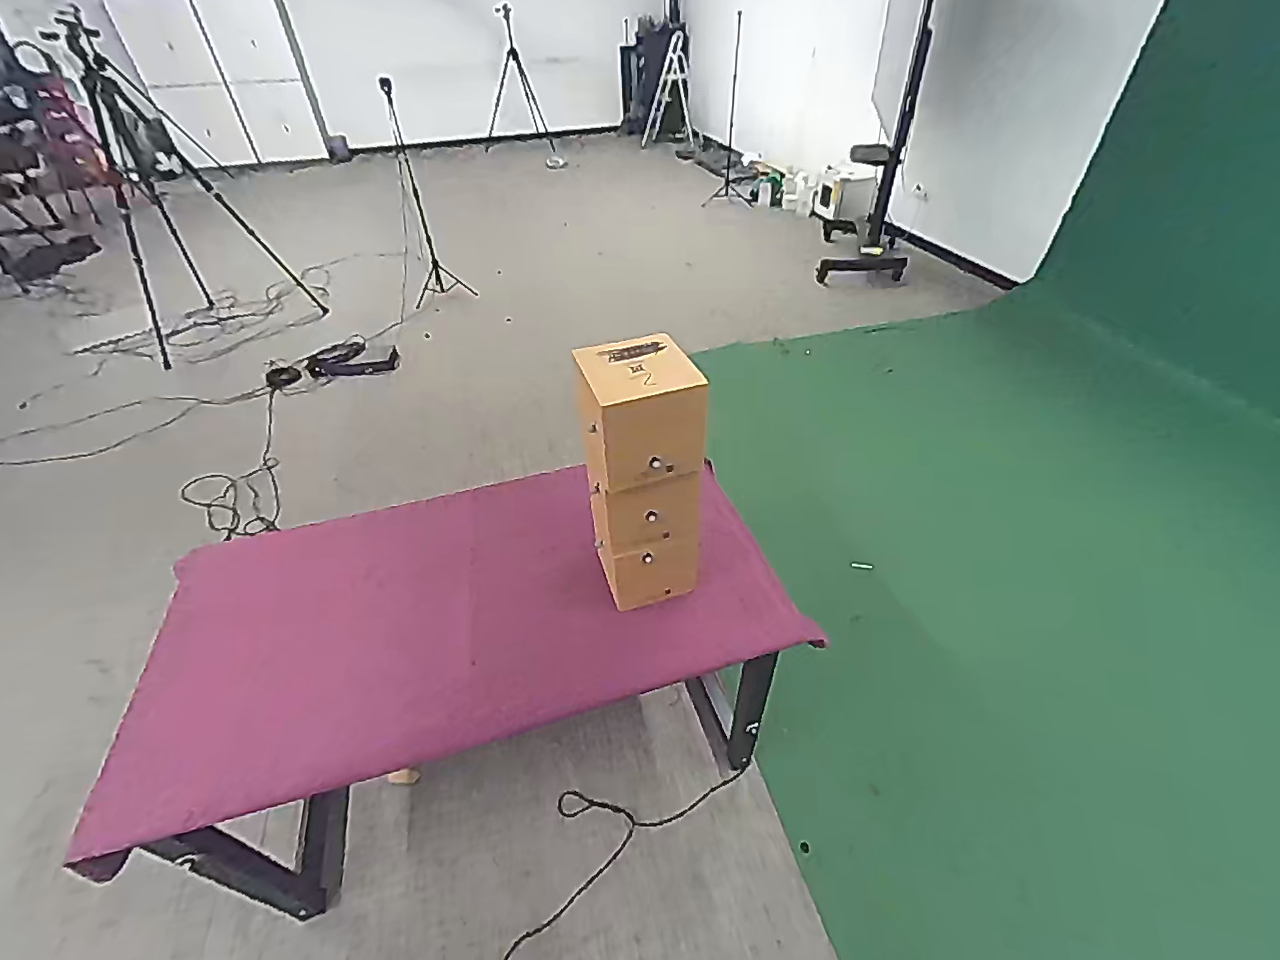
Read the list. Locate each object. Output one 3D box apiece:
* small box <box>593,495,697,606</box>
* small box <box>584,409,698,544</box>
[{"bbox_3d":[0.008,0.124,1.097,0.168,0.176,0.179,-14,42,-11],"label":"small box"},{"bbox_3d":[0.001,-0.002,0.989,0.168,0.176,0.179,-12,42,-11],"label":"small box"}]
